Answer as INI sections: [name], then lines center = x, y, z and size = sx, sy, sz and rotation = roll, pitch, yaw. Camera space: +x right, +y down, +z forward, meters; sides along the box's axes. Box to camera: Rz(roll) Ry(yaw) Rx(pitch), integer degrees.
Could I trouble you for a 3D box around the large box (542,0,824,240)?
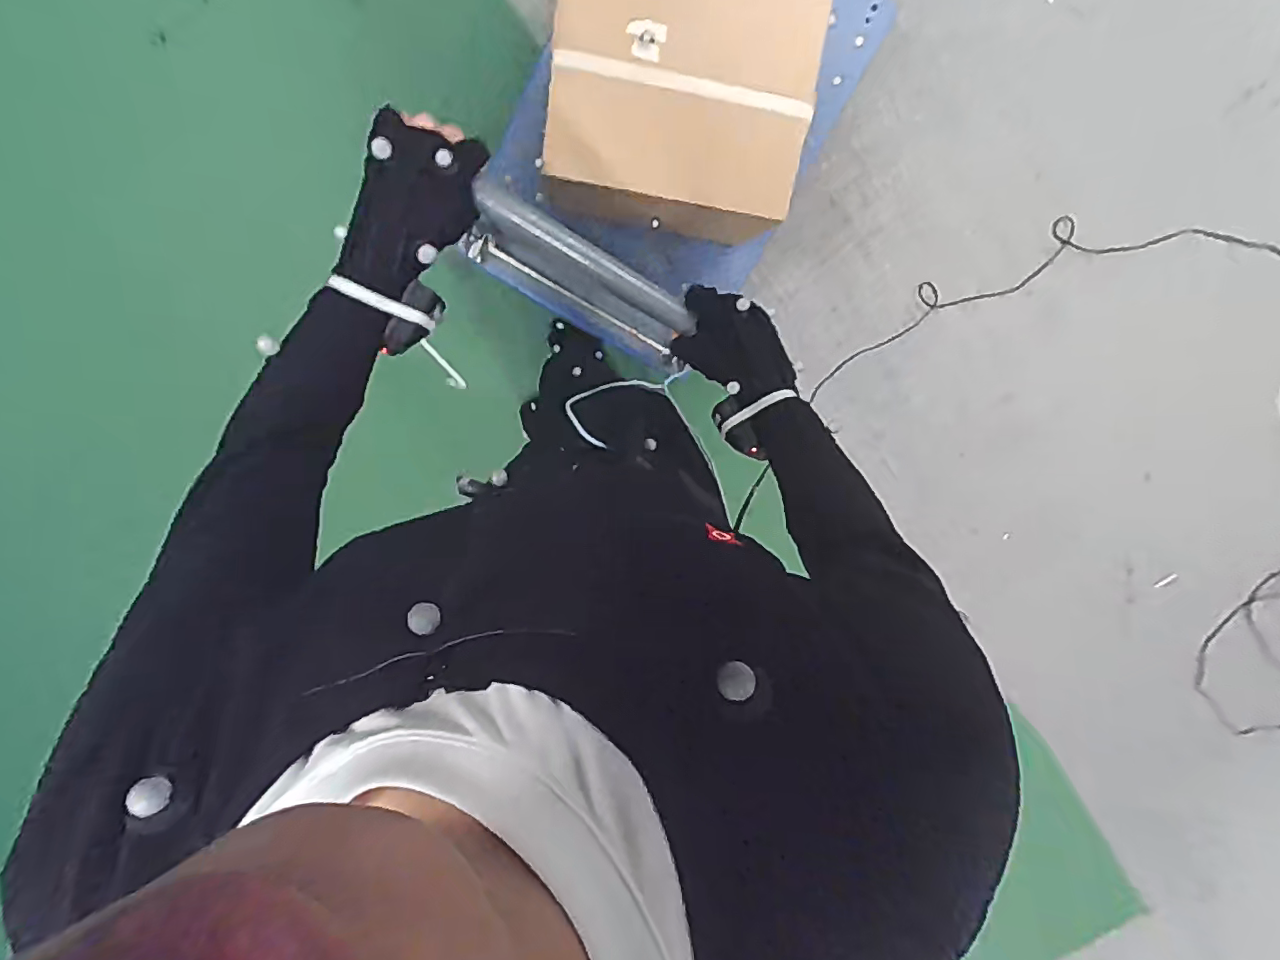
[large box]
center = 0.055, -0.642, 0.975
size = 0.408, 0.320, 0.320
rotation = 8, 105, -6
